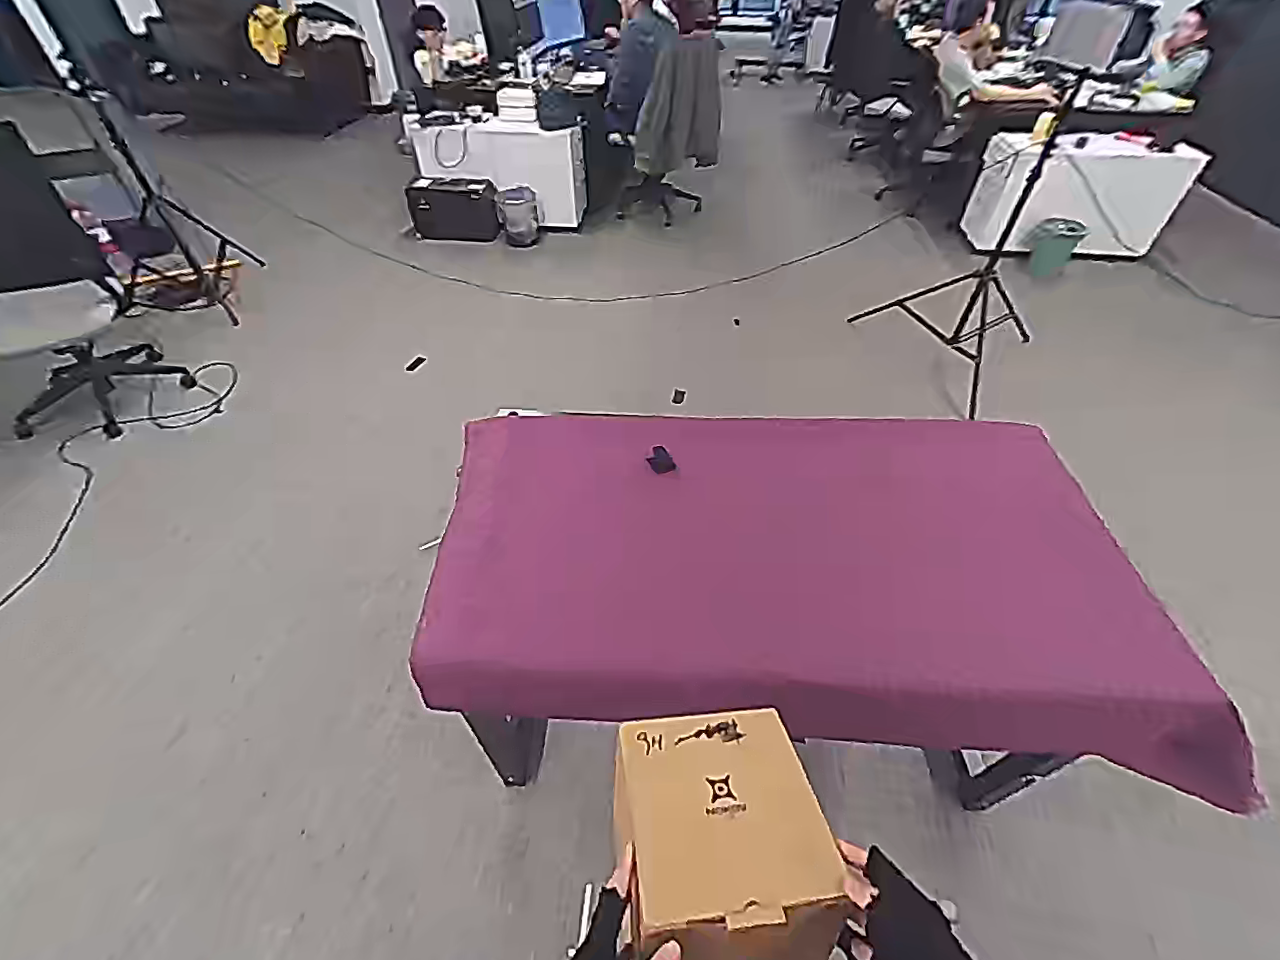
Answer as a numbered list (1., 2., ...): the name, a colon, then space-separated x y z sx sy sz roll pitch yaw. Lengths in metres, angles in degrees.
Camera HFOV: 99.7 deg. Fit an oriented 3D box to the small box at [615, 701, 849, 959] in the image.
1. small box: 0.067 0.343 0.511 0.168 0.176 0.179 -1 28 -9
